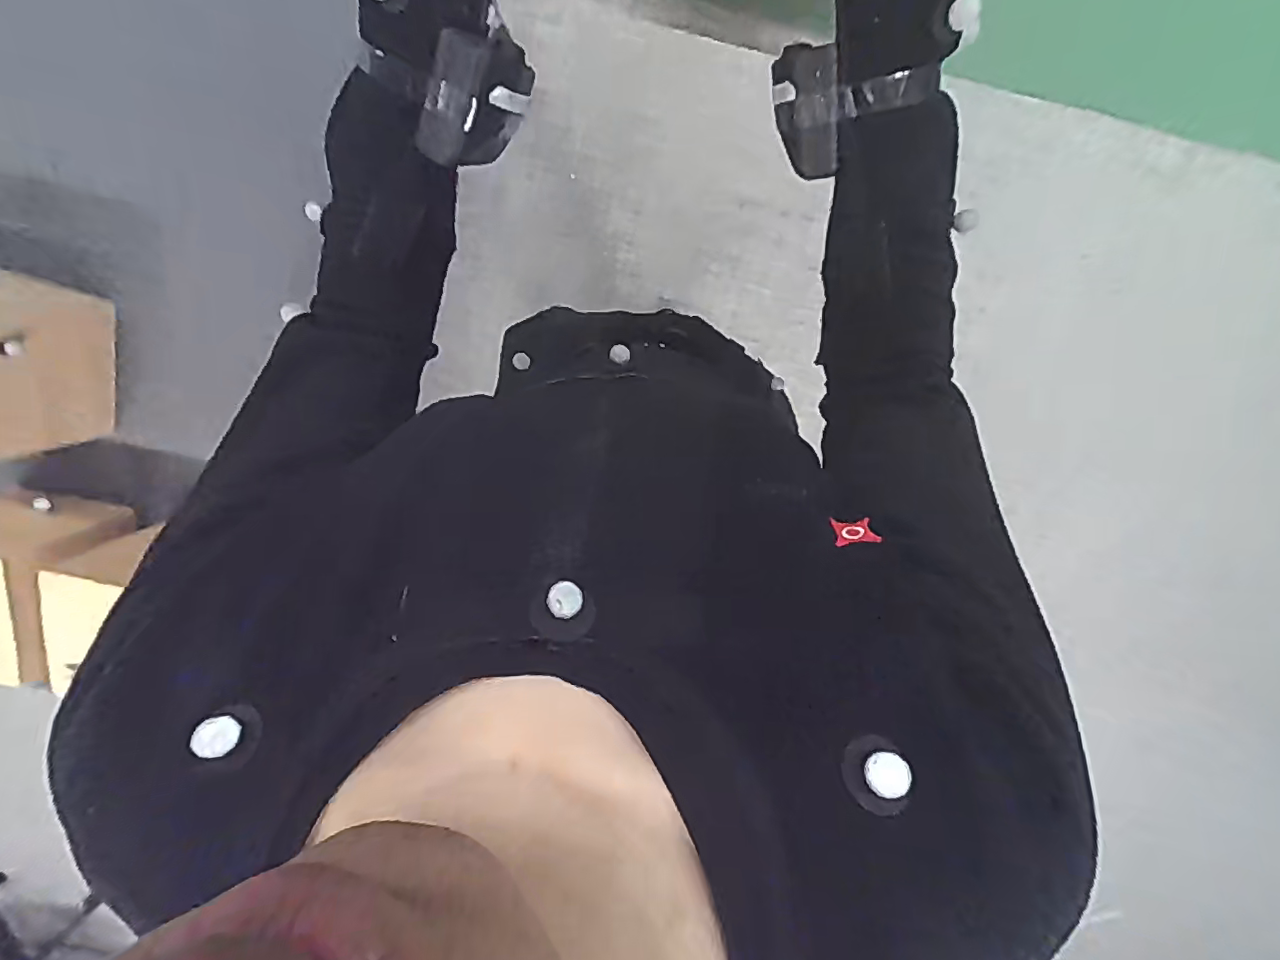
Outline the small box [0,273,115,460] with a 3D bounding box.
[{"bbox_3d":[-0.759,-0.139,0.620,0.168,0.176,0.179,17,107,-3],"label":"small box"}]
